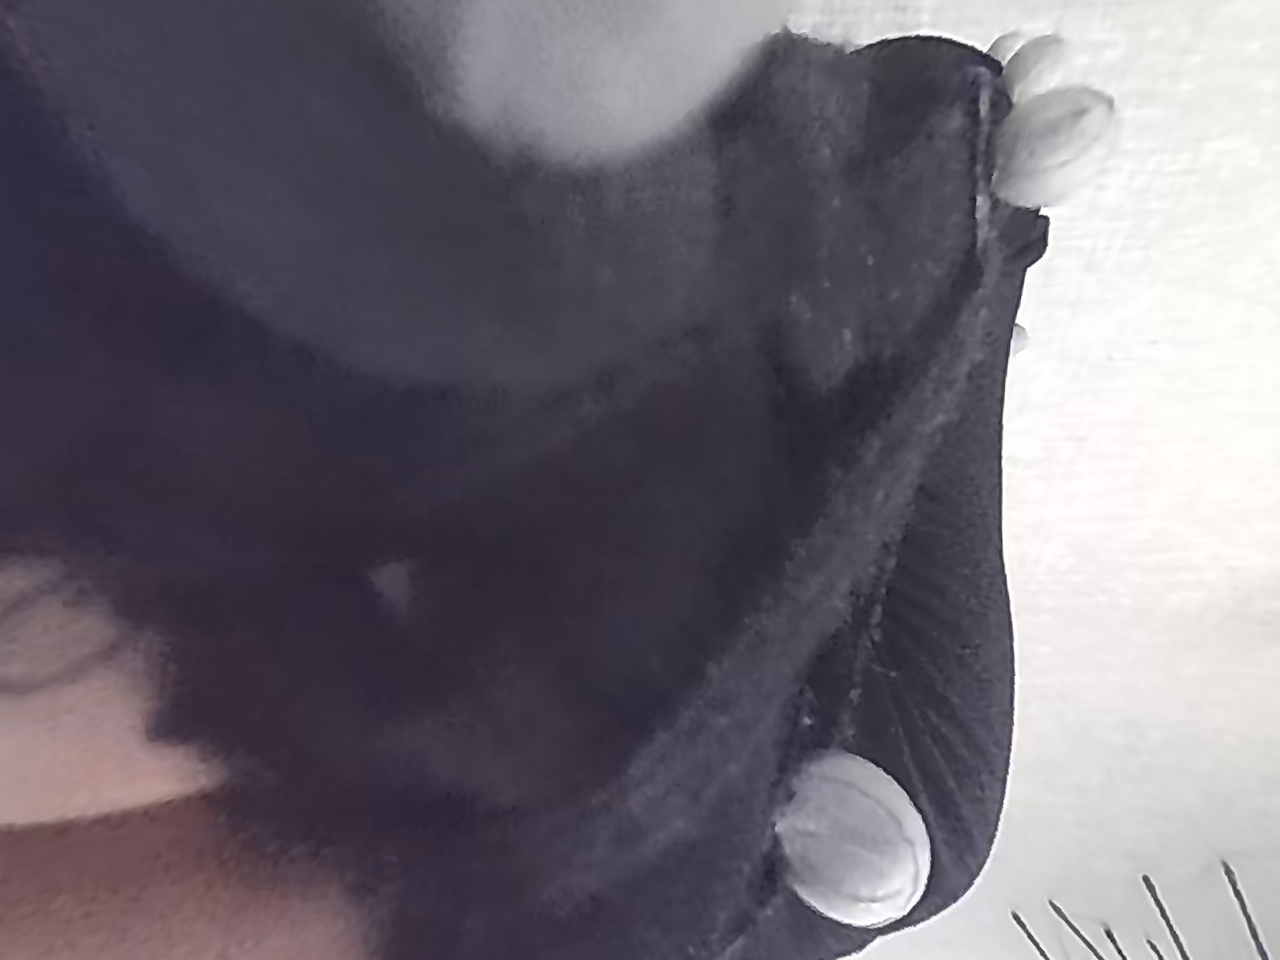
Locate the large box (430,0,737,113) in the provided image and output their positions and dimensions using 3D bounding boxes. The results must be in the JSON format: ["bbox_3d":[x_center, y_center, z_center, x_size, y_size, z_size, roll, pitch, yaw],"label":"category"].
[{"bbox_3d":[-0.081,-0.743,0.794,0.408,0.320,0.320,-2,121,-2],"label":"large box"}]
